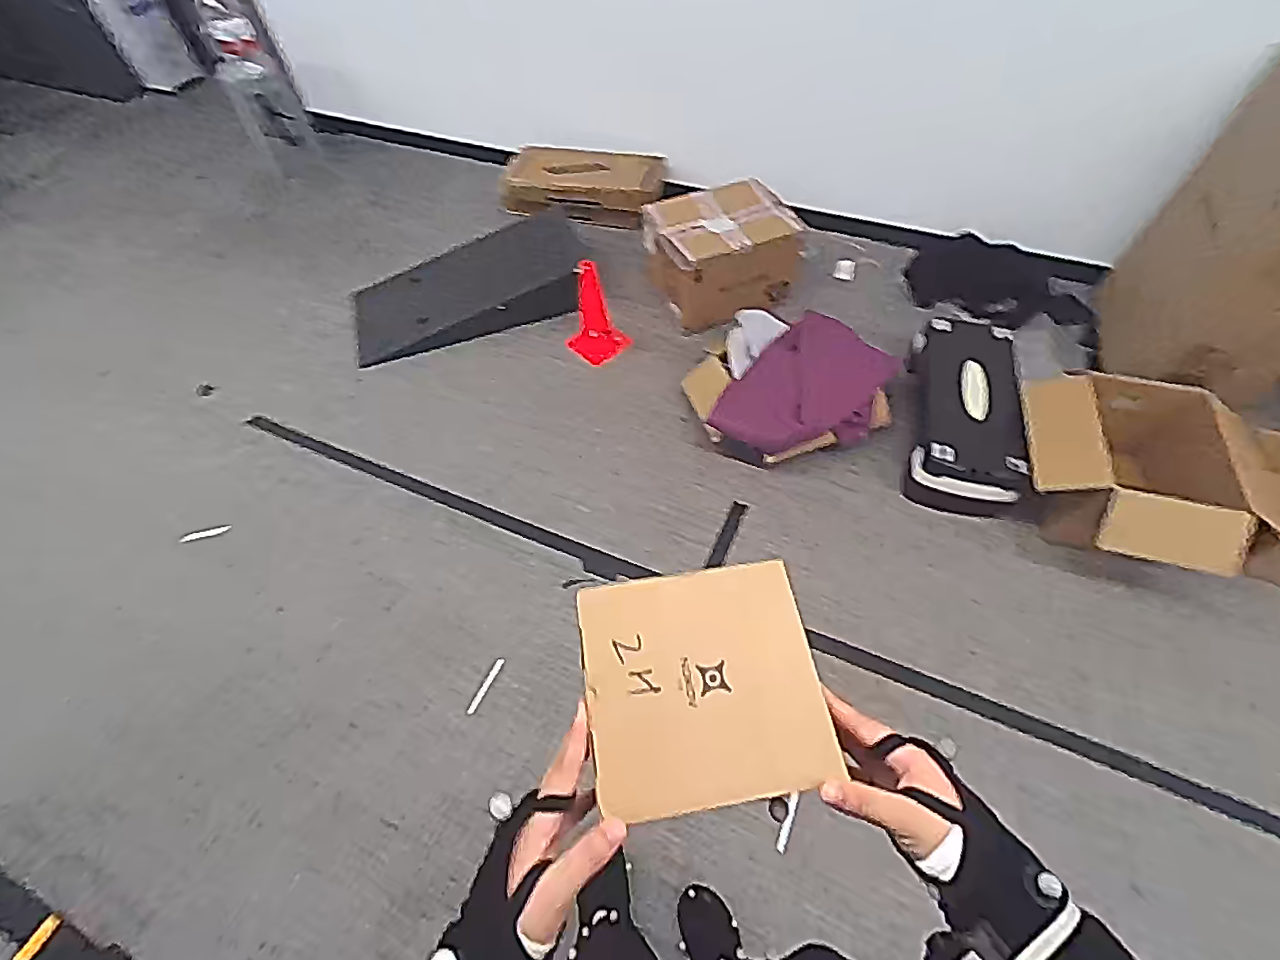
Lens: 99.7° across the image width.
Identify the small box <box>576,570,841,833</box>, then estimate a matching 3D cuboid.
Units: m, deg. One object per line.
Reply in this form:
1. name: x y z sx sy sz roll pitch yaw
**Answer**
1. small box: 0.044 0.197 0.479 0.179 0.176 0.168 -9 60 -5
